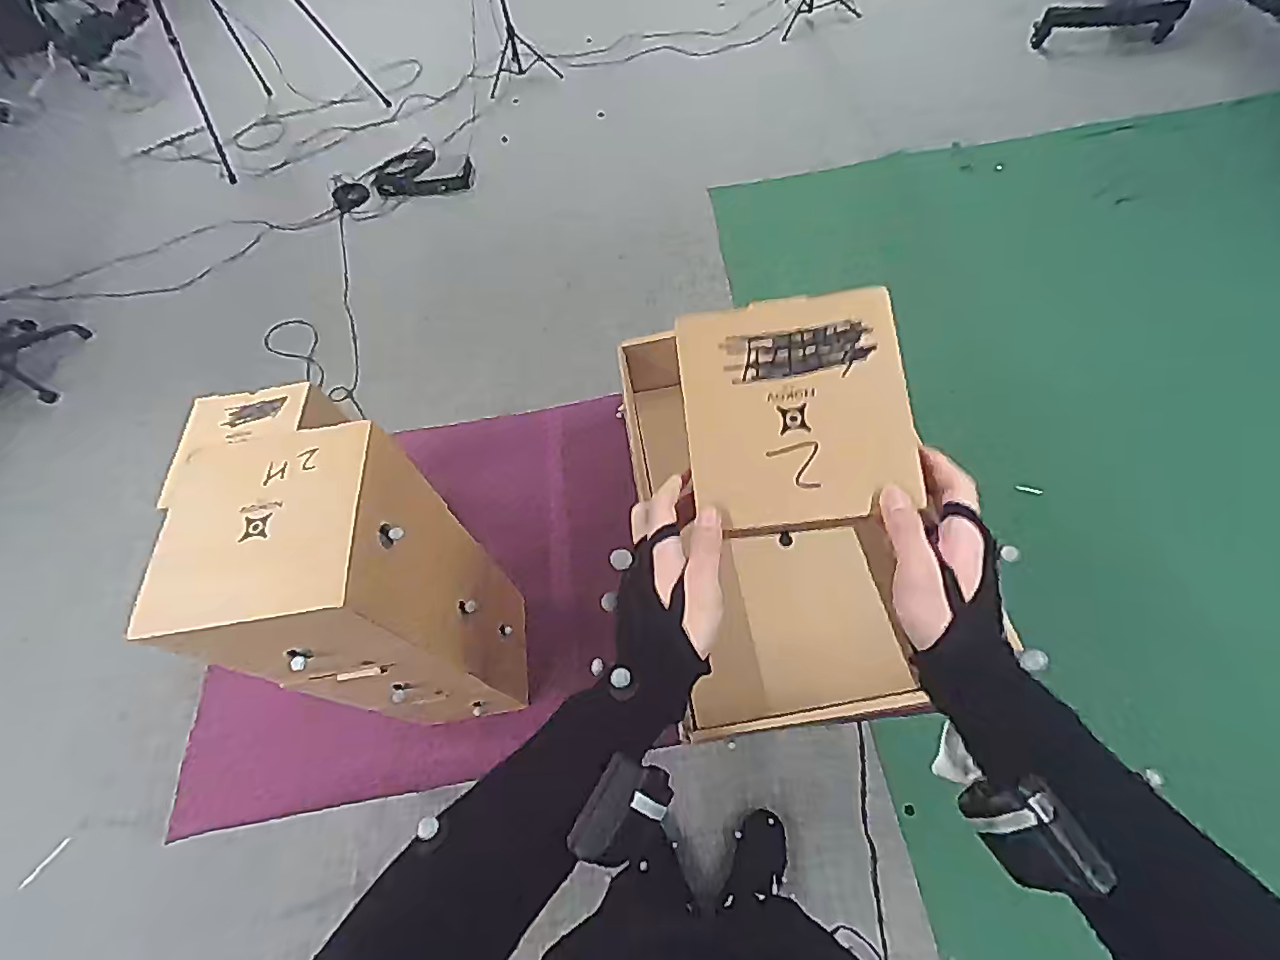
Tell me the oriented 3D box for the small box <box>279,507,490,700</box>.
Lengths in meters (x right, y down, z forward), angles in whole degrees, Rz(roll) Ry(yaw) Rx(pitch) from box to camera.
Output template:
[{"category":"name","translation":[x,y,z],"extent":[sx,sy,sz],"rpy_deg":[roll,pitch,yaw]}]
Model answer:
[{"category":"small box","translation":[-0.284,0.156,0.647],"extent":[0.168,0.176,0.179],"rpy_deg":[-10,59,0]}]

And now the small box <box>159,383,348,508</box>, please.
[{"category":"small box","translation":[-0.510,-0.010,0.771],"extent":[0.168,0.176,0.179],"rpy_deg":[-8,60,3]}]

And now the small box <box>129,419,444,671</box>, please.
[{"category":"small box","translation":[-0.297,0.071,0.506],"extent":[0.168,0.176,0.179],"rpy_deg":[-8,58,1]}]

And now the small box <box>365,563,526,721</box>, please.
[{"category":"small box","translation":[-0.268,0.242,0.785],"extent":[0.168,0.176,0.179],"rpy_deg":[-9,58,1]}]
